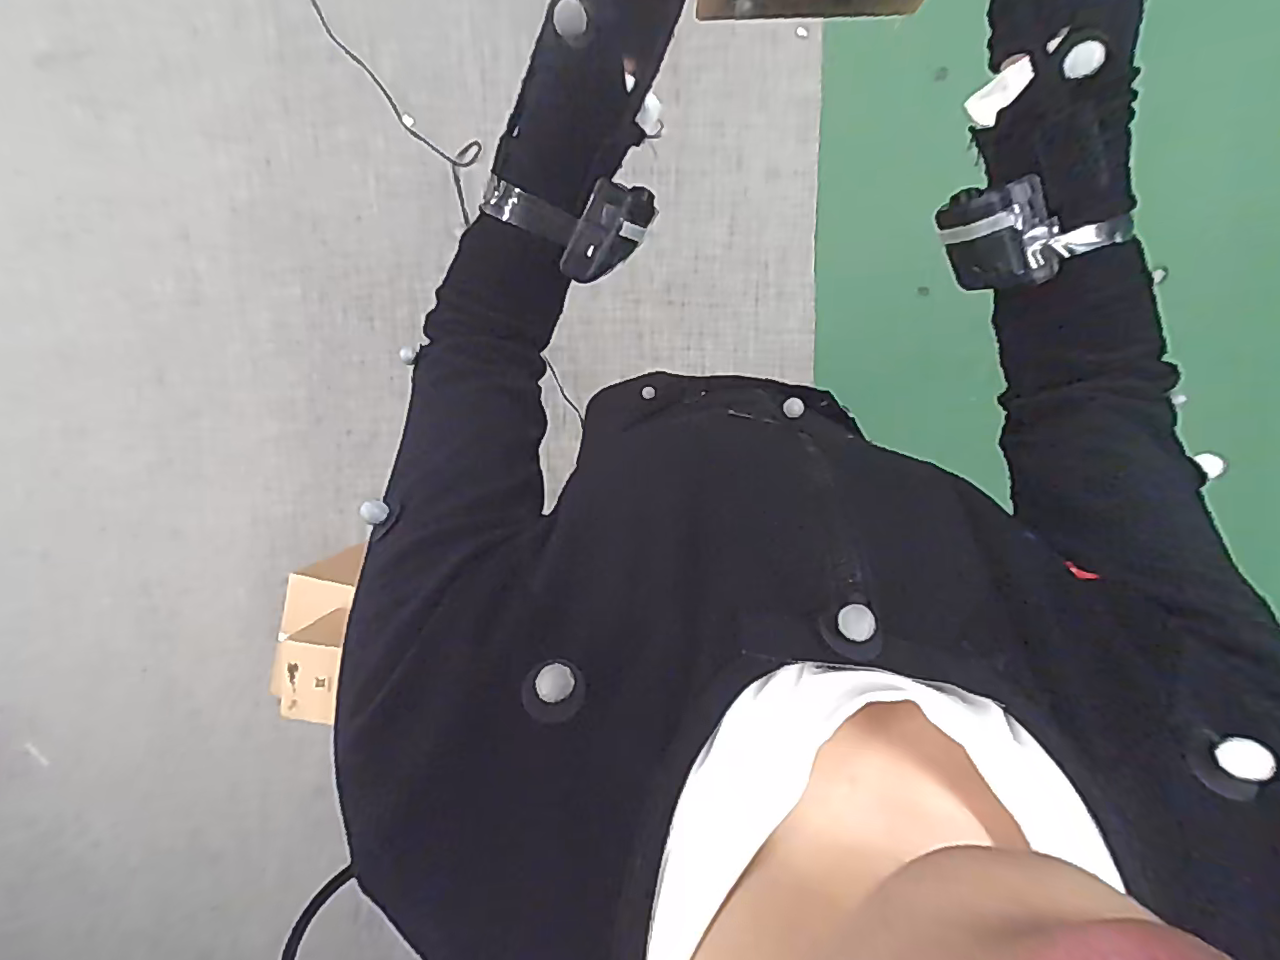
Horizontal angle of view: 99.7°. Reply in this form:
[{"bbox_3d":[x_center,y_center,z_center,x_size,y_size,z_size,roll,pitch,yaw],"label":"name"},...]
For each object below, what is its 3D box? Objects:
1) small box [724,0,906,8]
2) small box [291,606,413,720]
[{"bbox_3d":[0.120,-0.417,0.309,0.168,0.176,0.179,0,99,2],"label":"small box"},{"bbox_3d":[-0.607,0.382,1.157,0.179,0.176,0.168,7,98,1],"label":"small box"}]
